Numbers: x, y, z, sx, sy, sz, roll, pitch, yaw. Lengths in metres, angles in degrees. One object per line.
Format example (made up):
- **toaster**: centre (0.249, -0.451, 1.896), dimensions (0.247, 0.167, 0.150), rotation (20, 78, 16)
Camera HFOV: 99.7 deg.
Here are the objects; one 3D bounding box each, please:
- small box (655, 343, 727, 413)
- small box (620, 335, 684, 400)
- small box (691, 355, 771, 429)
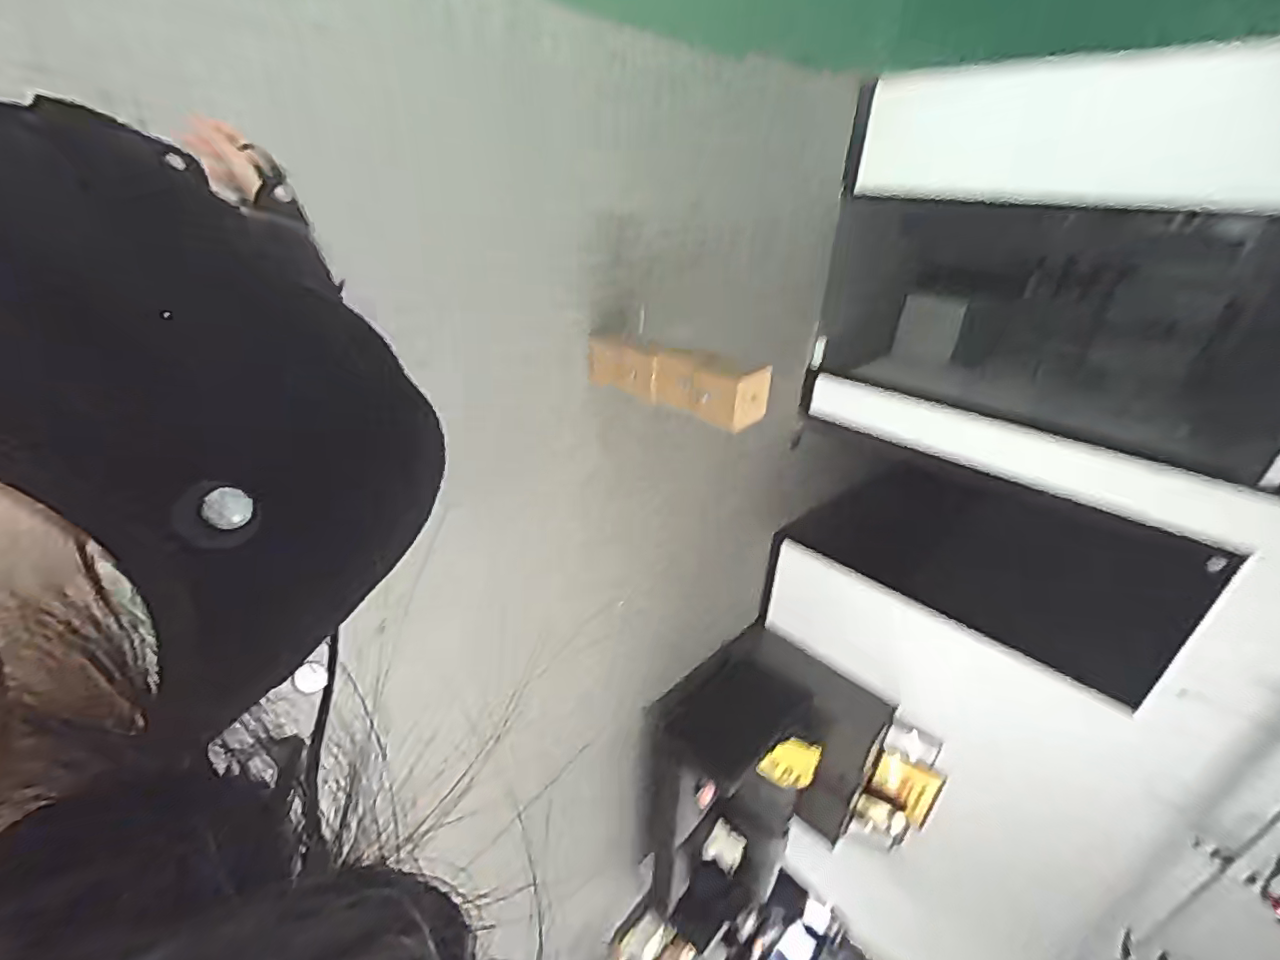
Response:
- **small box**: centre (0.164, -0.344, 1.782), dimensions (0.168, 0.176, 0.179), rotation (-26, 130, -39)
- **small box**: centre (0.043, -0.395, 1.881), dimensions (0.179, 0.176, 0.168), rotation (-26, 131, -38)
- **small box**: centre (0.281, -0.281, 1.685), dimensions (0.179, 0.176, 0.168), rotation (-27, 130, -38)
